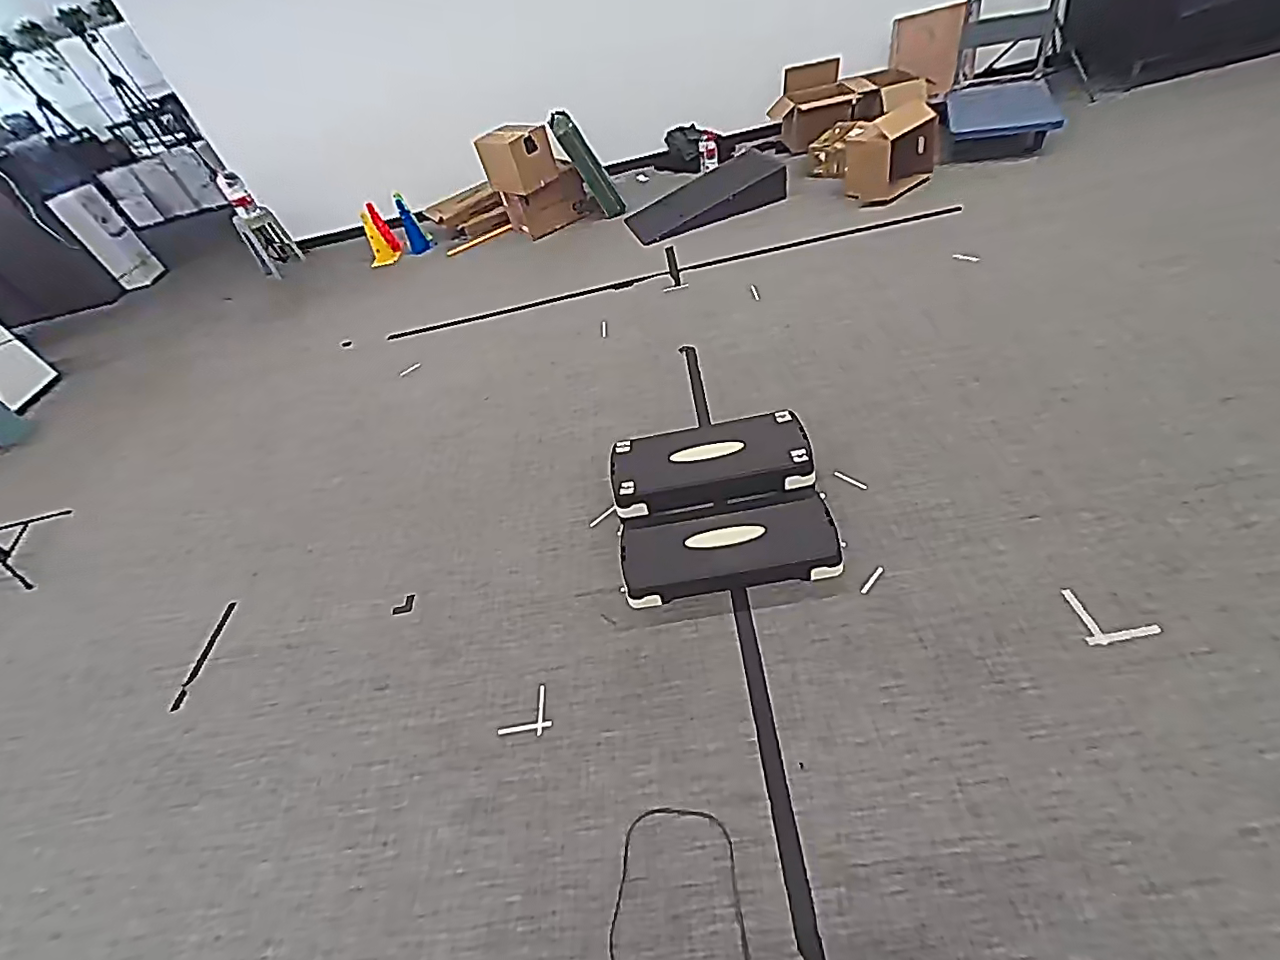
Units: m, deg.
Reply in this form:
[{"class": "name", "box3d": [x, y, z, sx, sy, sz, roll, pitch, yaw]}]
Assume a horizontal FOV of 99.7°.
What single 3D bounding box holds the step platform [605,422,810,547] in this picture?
[{"class": "step platform", "box3d": [0.222, 0.010, 1.860, 0.684, 0.204, 0.286, -11, 46, 4]}]
